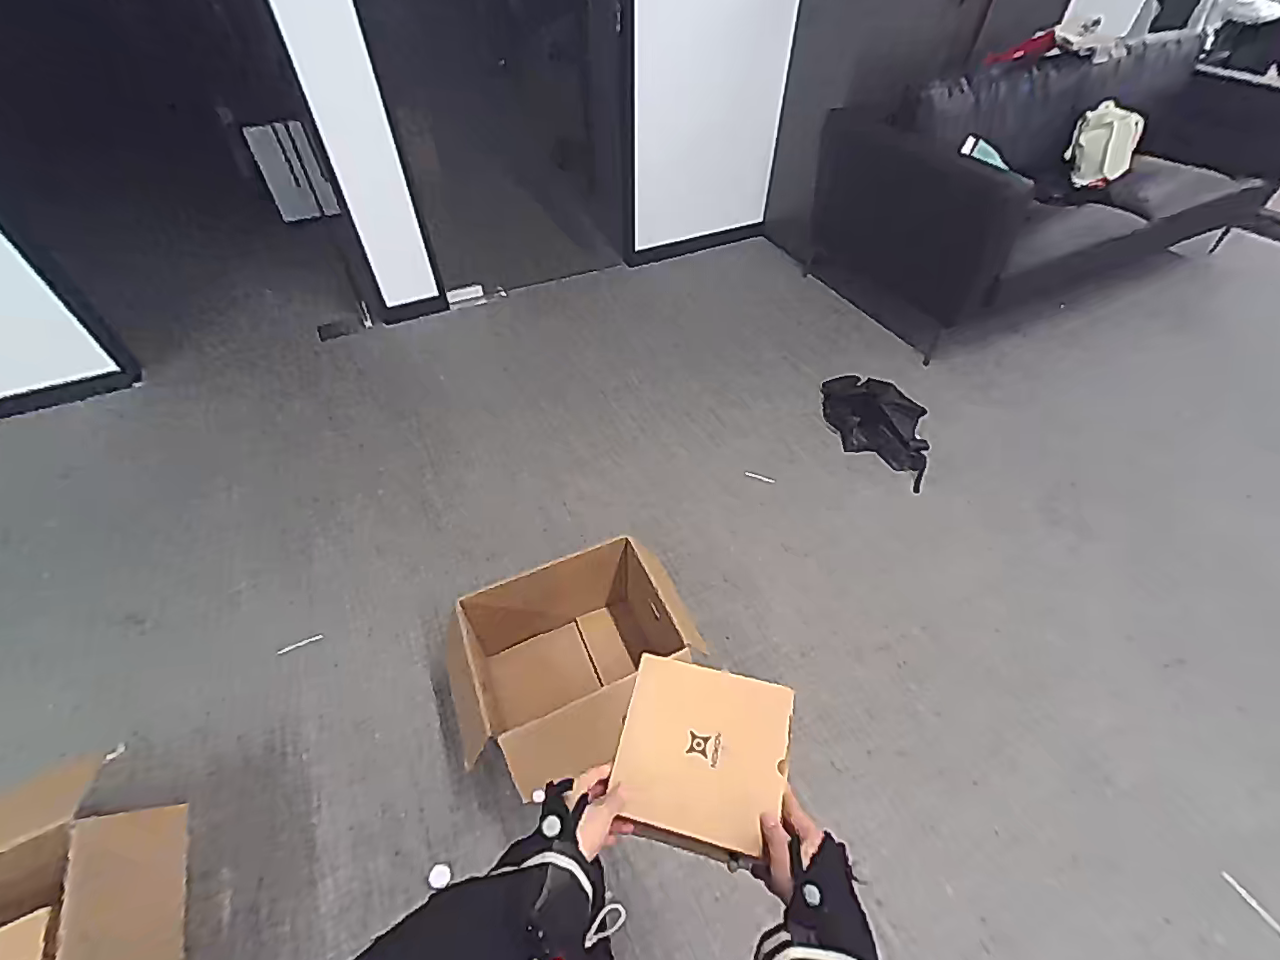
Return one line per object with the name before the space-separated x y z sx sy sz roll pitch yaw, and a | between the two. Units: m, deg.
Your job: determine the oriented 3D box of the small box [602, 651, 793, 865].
small box | 0.071 0.324 0.626 0.179 0.176 0.168 9 53 12
